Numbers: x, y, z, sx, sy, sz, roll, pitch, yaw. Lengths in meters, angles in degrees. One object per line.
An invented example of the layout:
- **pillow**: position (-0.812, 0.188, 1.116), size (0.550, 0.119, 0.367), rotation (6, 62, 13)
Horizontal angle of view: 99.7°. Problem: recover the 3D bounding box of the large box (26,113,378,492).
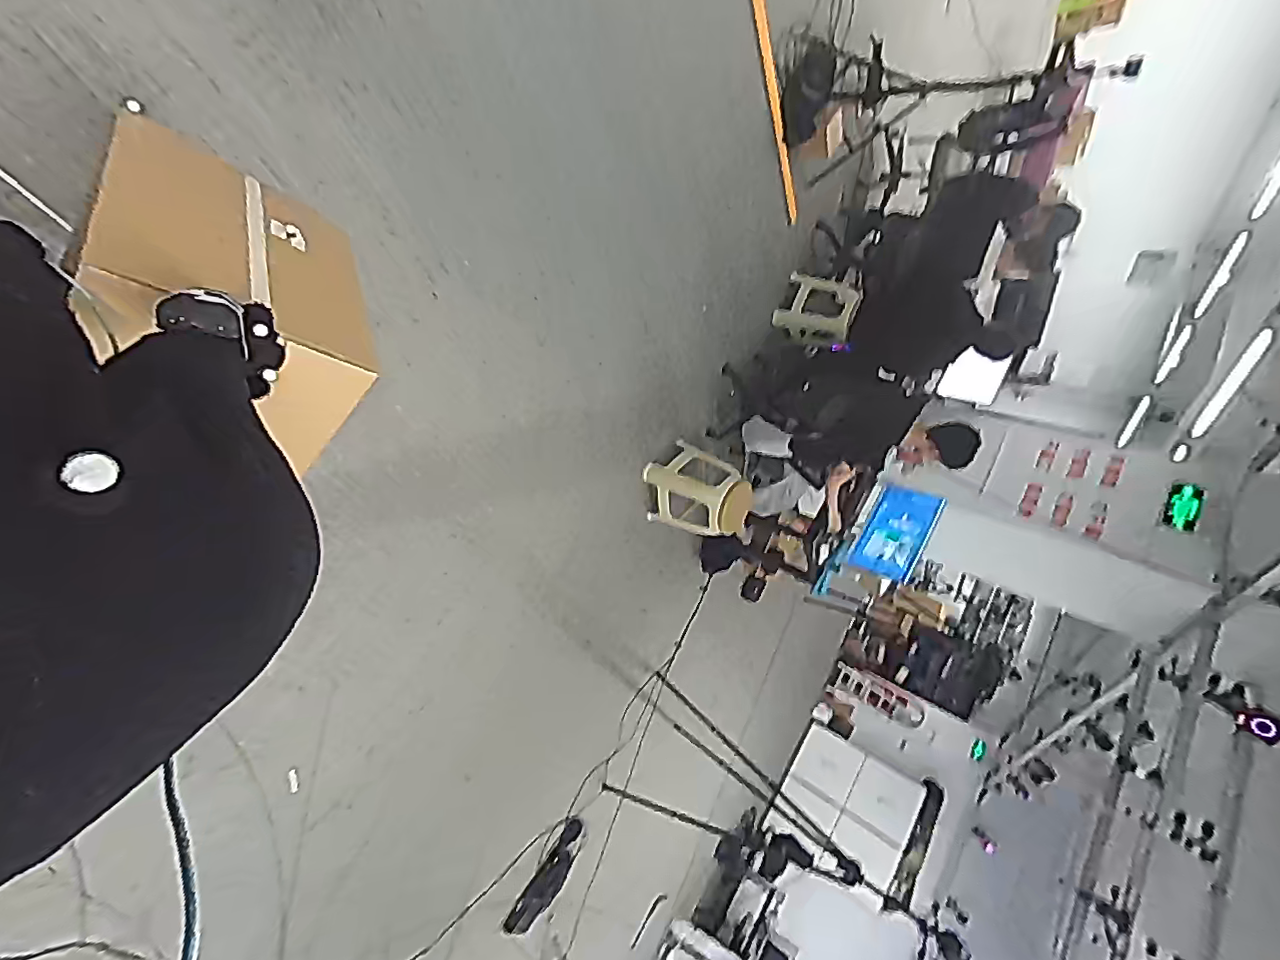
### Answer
- **large box**: position (-0.658, -0.244, 0.830), size (0.320, 0.408, 0.320), rotation (-42, 146, 21)
